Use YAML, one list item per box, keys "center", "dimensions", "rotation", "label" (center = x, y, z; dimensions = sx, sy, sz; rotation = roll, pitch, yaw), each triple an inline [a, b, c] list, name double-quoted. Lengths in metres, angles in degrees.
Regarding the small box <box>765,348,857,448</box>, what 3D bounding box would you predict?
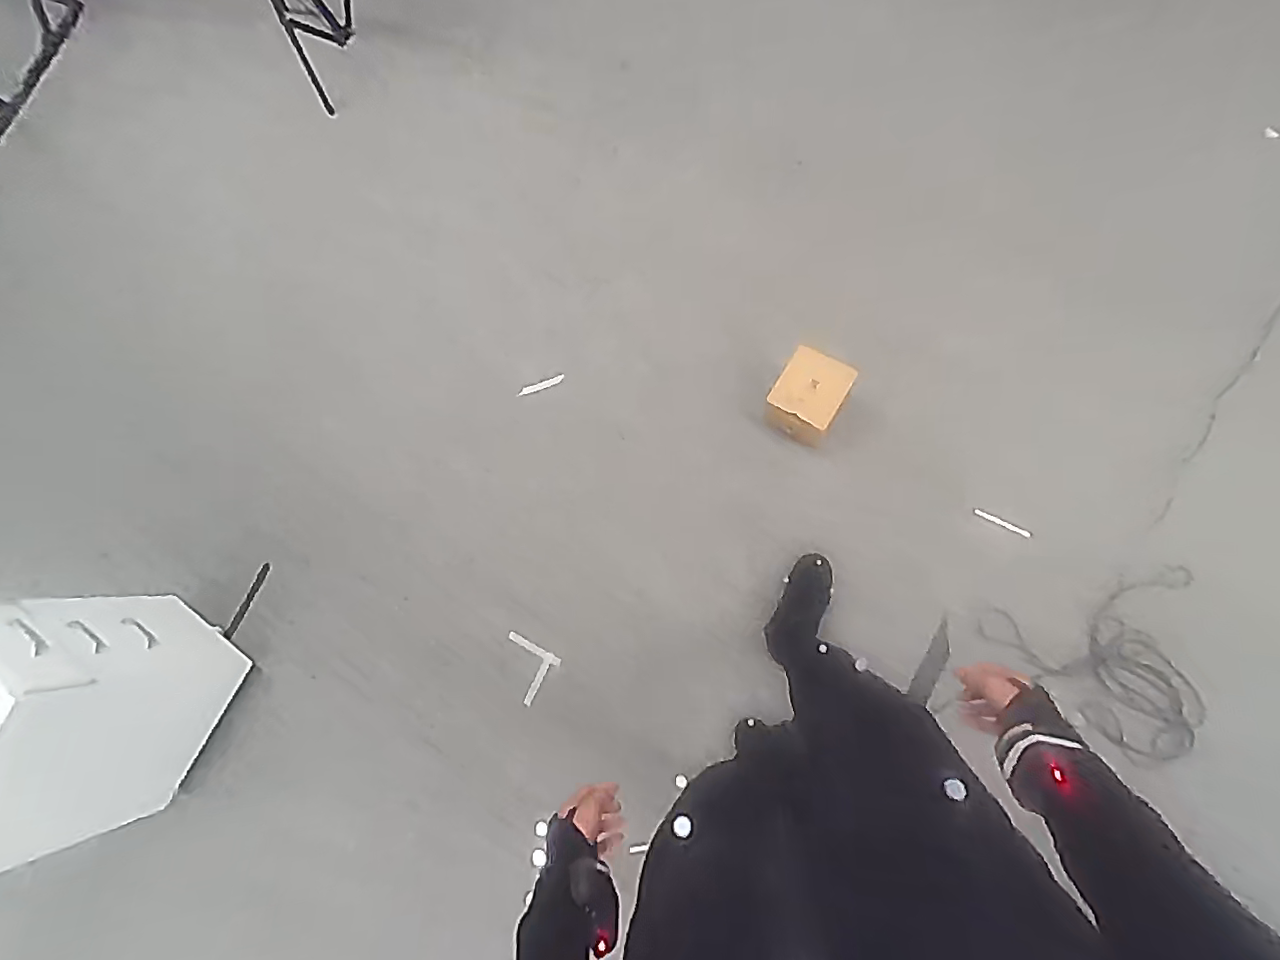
- center: [0.442, -0.210, 1.428]
  dimensions: [0.168, 0.176, 0.179]
  rotation: [31, 87, 16]
  label: "small box"
